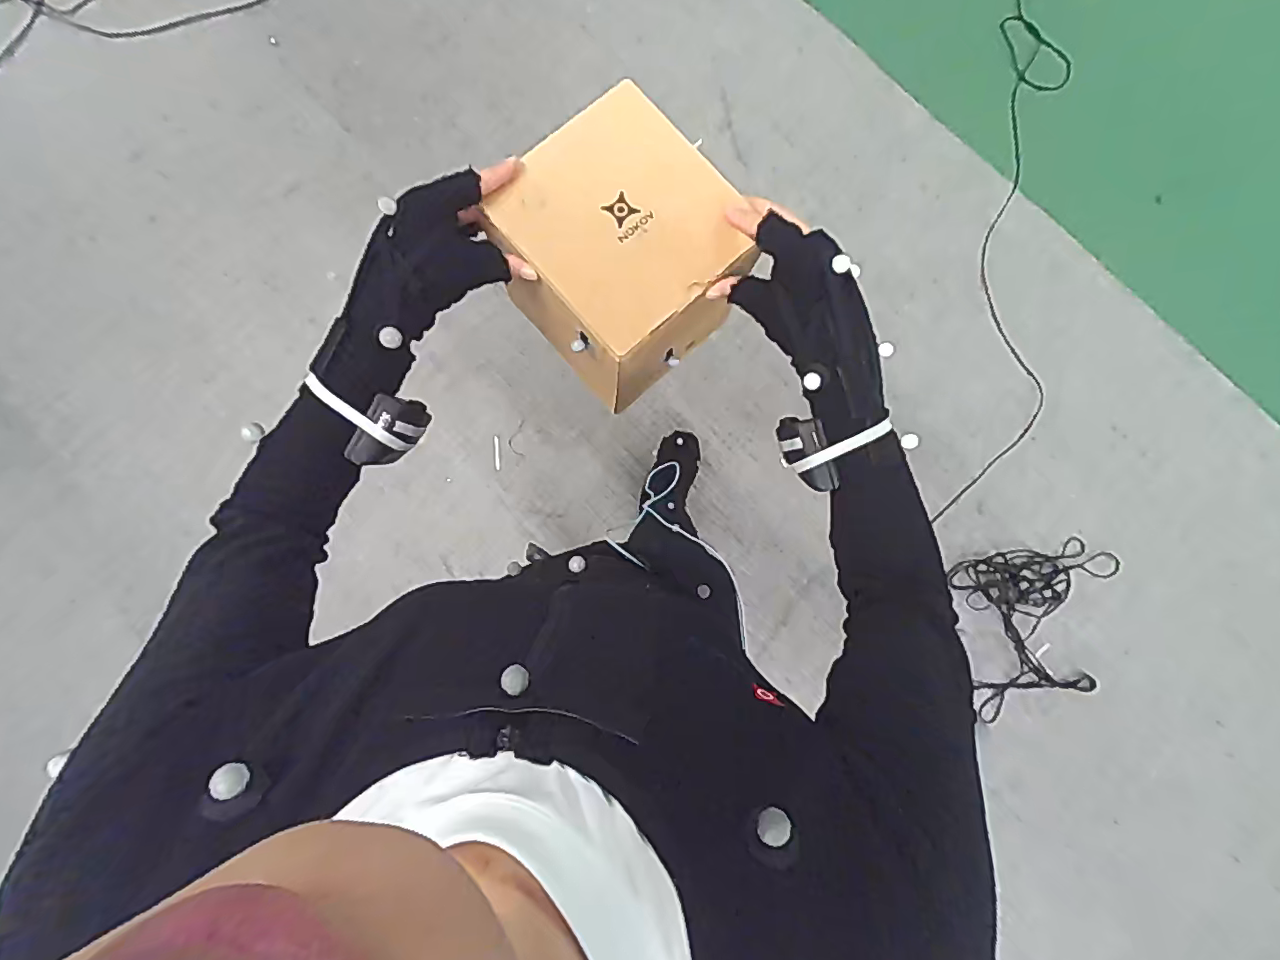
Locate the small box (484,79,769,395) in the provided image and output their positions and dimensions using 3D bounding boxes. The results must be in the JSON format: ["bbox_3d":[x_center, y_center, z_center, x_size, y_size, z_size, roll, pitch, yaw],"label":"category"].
[{"bbox_3d":[-0.016,-0.208,0.512,0.168,0.176,0.179,-41,88,-8],"label":"small box"}]
